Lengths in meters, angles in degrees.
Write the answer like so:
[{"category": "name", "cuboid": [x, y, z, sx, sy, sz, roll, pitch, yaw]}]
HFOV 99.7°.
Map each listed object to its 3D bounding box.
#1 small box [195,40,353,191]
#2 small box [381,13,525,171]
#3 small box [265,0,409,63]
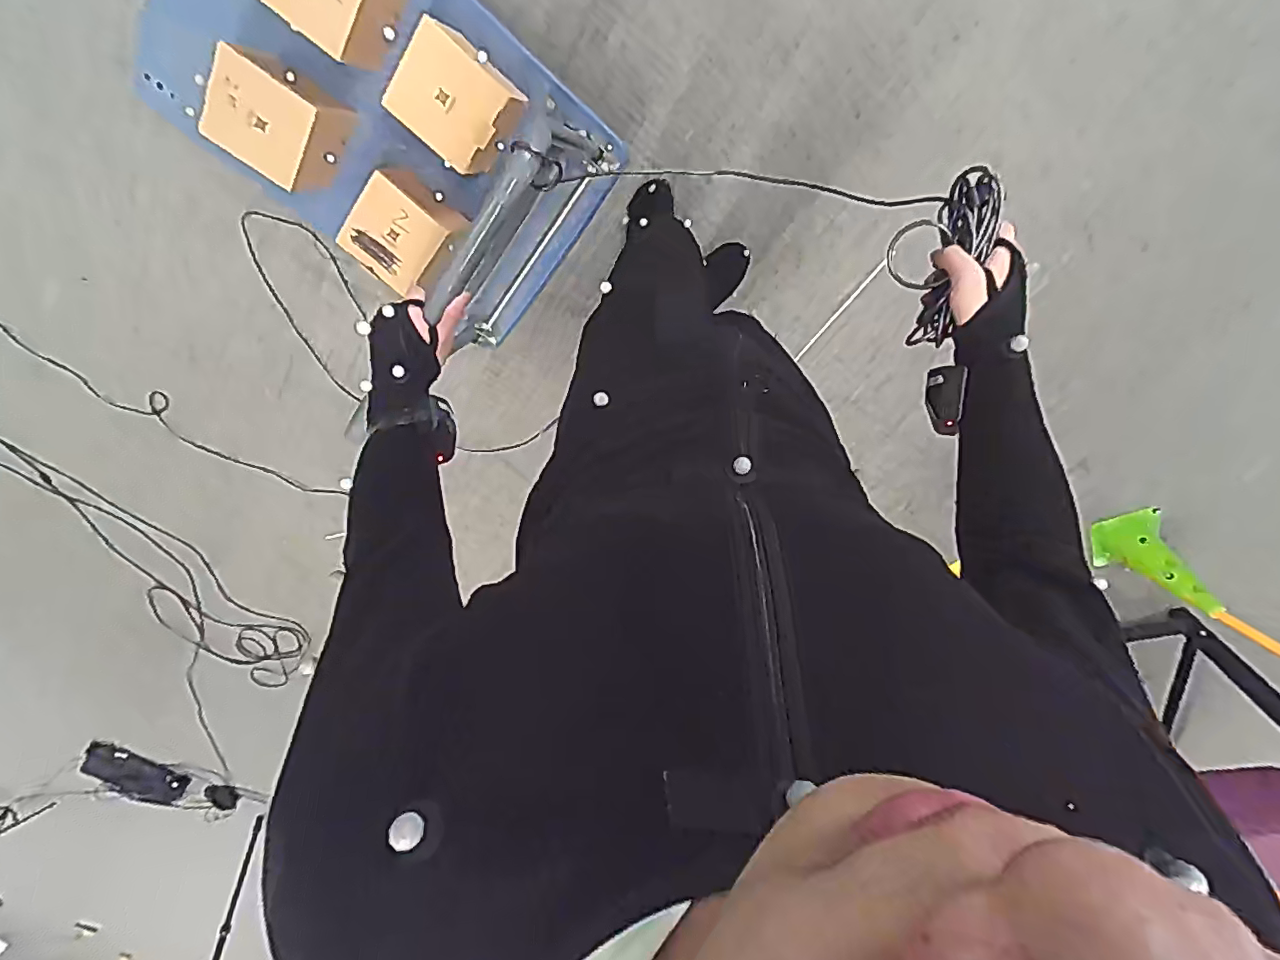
[{"category": "small box", "cuboid": [-0.697, -0.698, 1.049, 0.179, 0.176, 0.168, 33, 116, -17]}, {"category": "small box", "cuboid": [-0.345, -0.718, 1.026, 0.179, 0.176, 0.168, 37, 116, -19]}, {"category": "small box", "cuboid": [-0.537, -0.867, 0.938, 0.179, 0.176, 0.168, 34, 118, -19]}]
